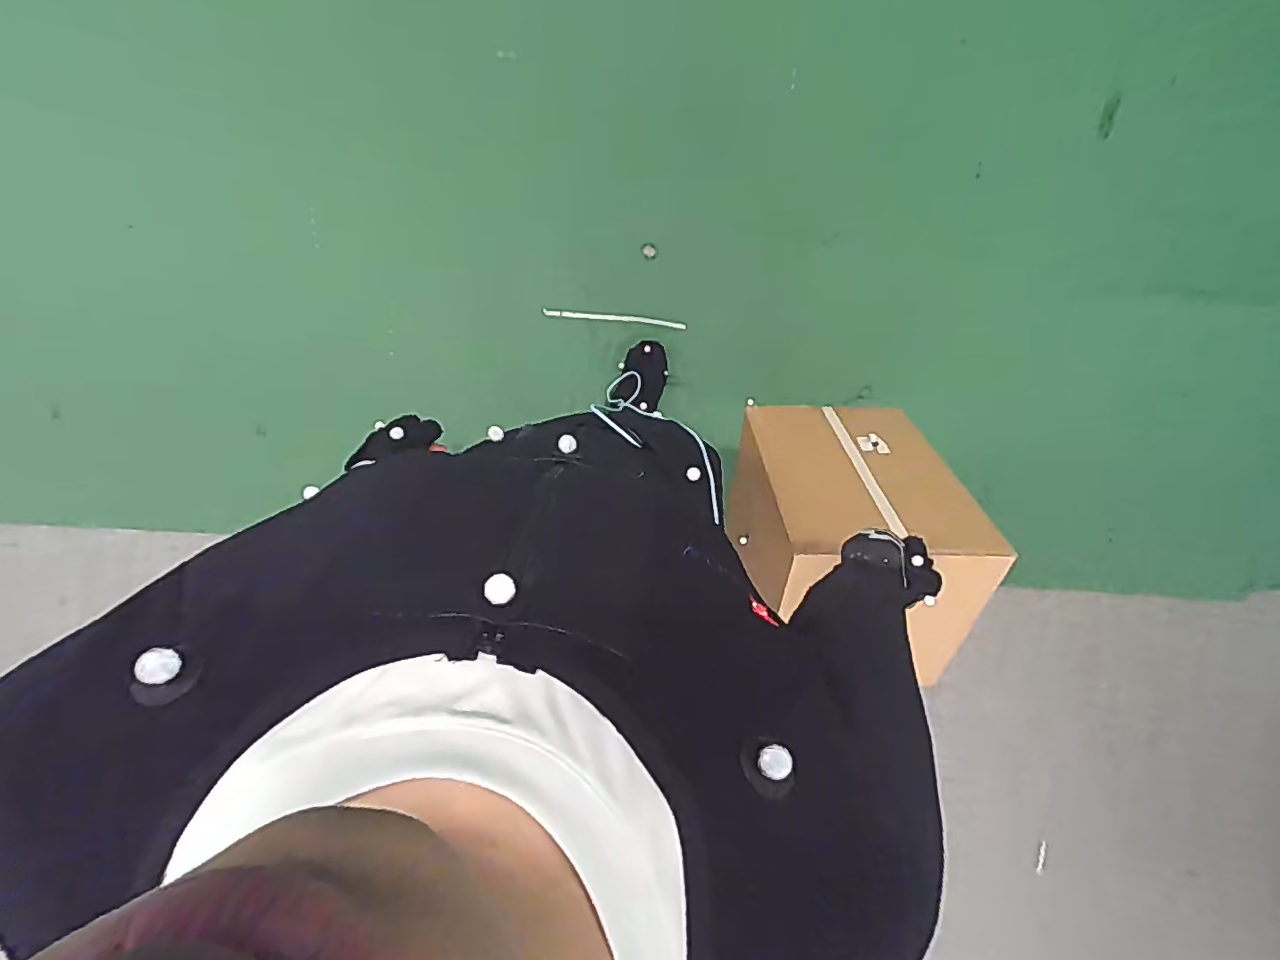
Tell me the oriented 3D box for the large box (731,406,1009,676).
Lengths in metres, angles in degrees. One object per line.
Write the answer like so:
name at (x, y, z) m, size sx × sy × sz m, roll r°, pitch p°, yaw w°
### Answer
large box at (0.362, 0.100, 0.997) m, size 0.320 × 0.408 × 0.320 m, roll 1°, pitch 127°, yaw -2°
